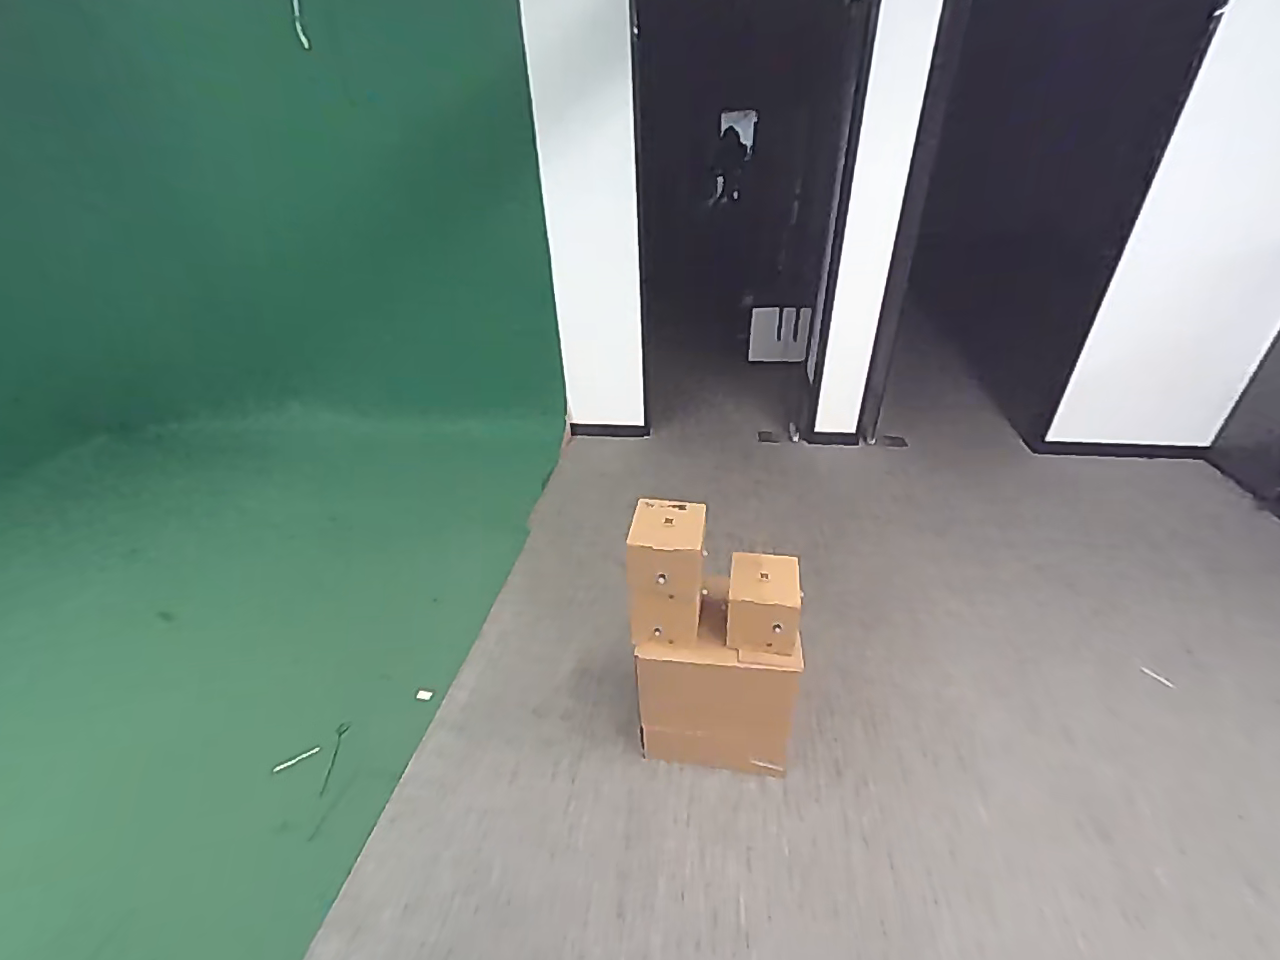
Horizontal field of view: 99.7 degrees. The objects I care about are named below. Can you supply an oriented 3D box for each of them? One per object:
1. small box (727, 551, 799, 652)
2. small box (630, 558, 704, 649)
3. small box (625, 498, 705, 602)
[{"bbox_3d":[0.306,0.303,1.349,0.168,0.176,0.179,4,33,12],"label":"small box"},{"bbox_3d":[0.070,0.300,1.375,0.168,0.176,0.179,4,35,8],"label":"small box"},{"bbox_3d":[0.064,0.166,1.280,0.168,0.176,0.179,5,36,9],"label":"small box"}]
